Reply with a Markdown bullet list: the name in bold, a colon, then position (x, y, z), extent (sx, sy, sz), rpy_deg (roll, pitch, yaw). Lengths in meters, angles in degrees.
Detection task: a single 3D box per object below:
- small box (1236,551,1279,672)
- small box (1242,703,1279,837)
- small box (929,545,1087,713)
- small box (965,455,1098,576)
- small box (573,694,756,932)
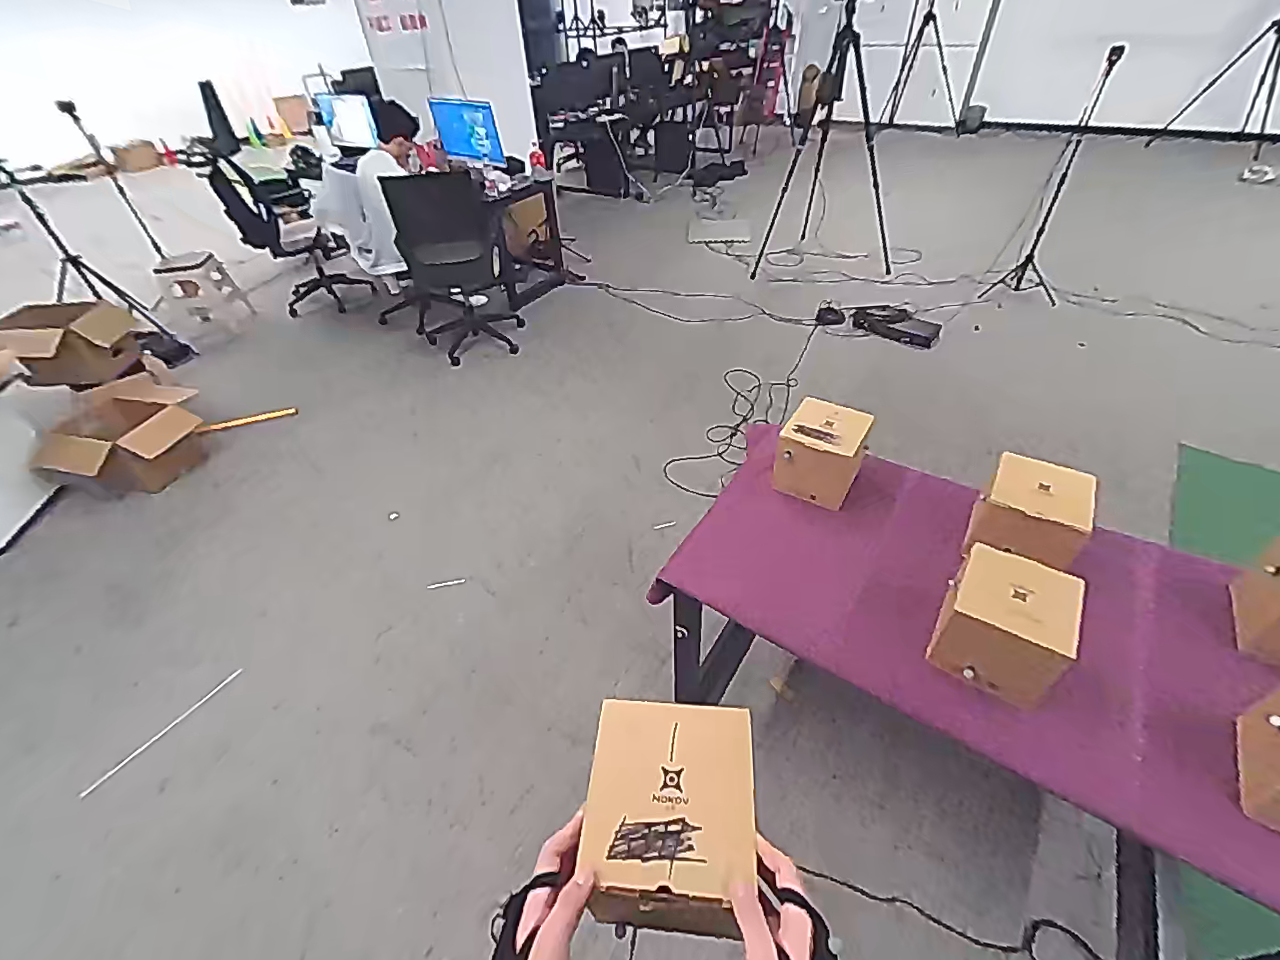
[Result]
- **small box**: position (1.158, 0.228, 0.905), extent (0.168, 0.176, 0.179), rpy_deg (21, 48, 28)
- **small box**: position (0.966, 0.403, 0.722), extent (0.168, 0.176, 0.179), rpy_deg (24, 46, 29)
- **small box**: position (0.617, 0.250, 0.919), extent (0.168, 0.176, 0.179), rpy_deg (23, 47, 28)
- **small box**: position (0.787, 0.084, 1.098), extent (0.168, 0.176, 0.179), rpy_deg (22, 49, 25)
- **small box**: position (0.035, 0.358, 0.584), extent (0.168, 0.176, 0.179), rpy_deg (2, 41, 7)
